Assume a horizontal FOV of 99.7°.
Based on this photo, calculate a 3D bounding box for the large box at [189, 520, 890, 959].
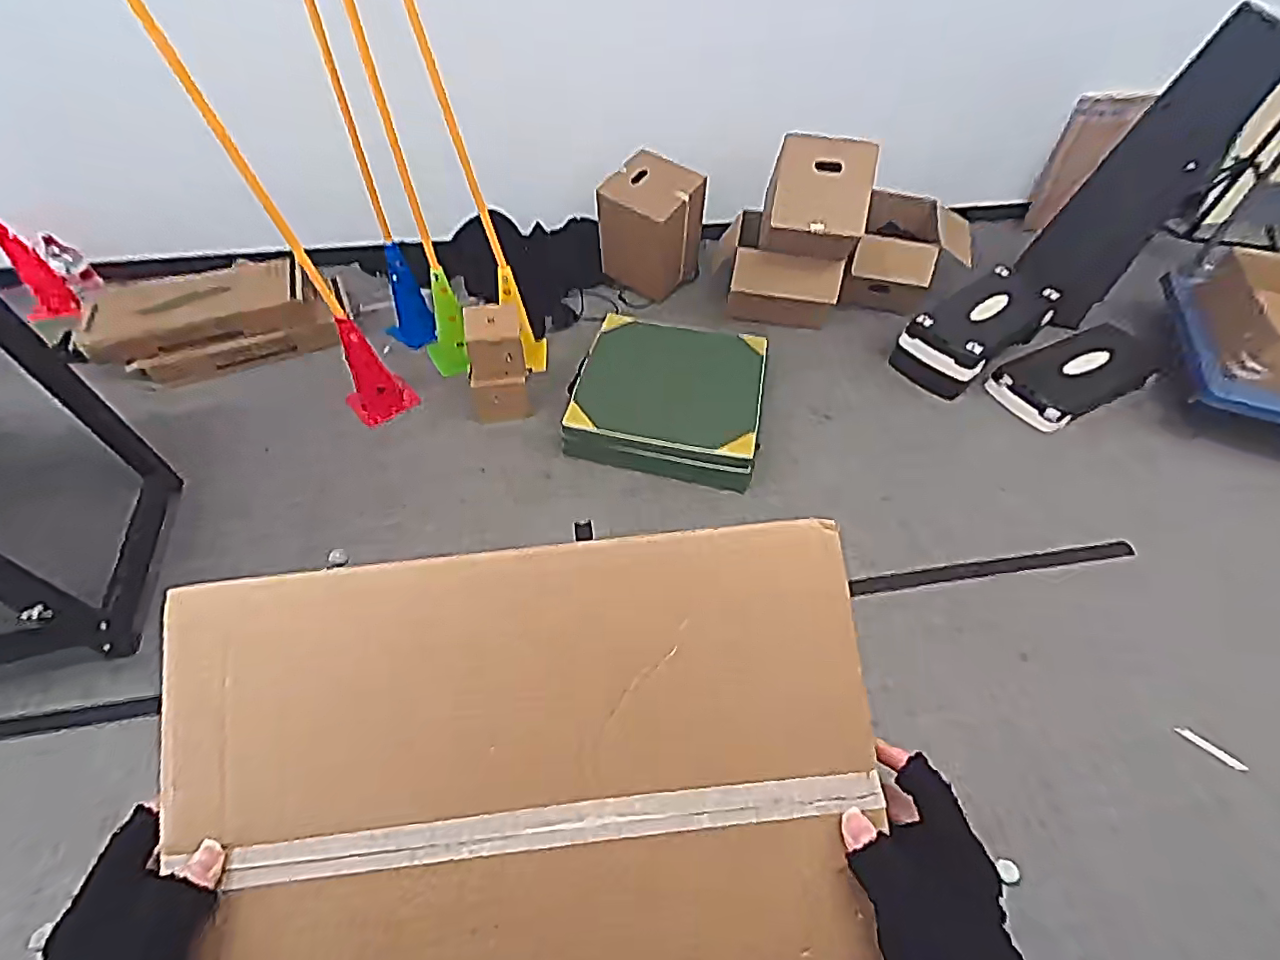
[{"bbox_3d":[-0.066,0.220,0.468,0.408,0.320,0.320,-6,82,-1],"label":"large box"}]
